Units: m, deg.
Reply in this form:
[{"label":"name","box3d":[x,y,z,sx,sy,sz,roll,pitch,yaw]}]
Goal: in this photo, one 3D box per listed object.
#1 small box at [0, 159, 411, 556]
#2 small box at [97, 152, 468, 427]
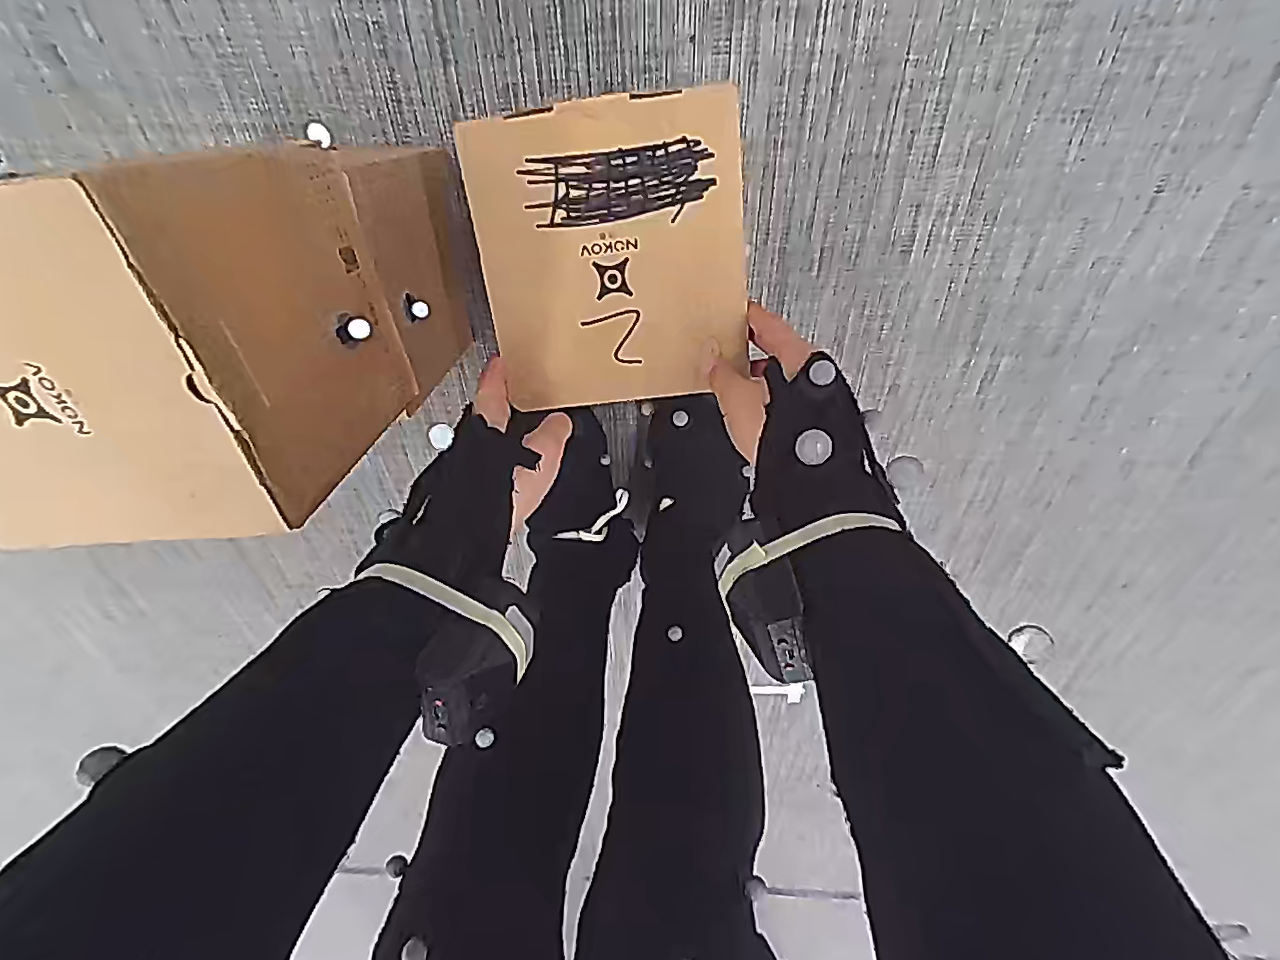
[{"label":"small box","box3d":[-0.266,-0.076,0.309,0.179,0.176,0.168,-4,124,5]},{"label":"small box","box3d":[-0.256,-0.162,0.448,0.168,0.176,0.179,2,124,1]}]
